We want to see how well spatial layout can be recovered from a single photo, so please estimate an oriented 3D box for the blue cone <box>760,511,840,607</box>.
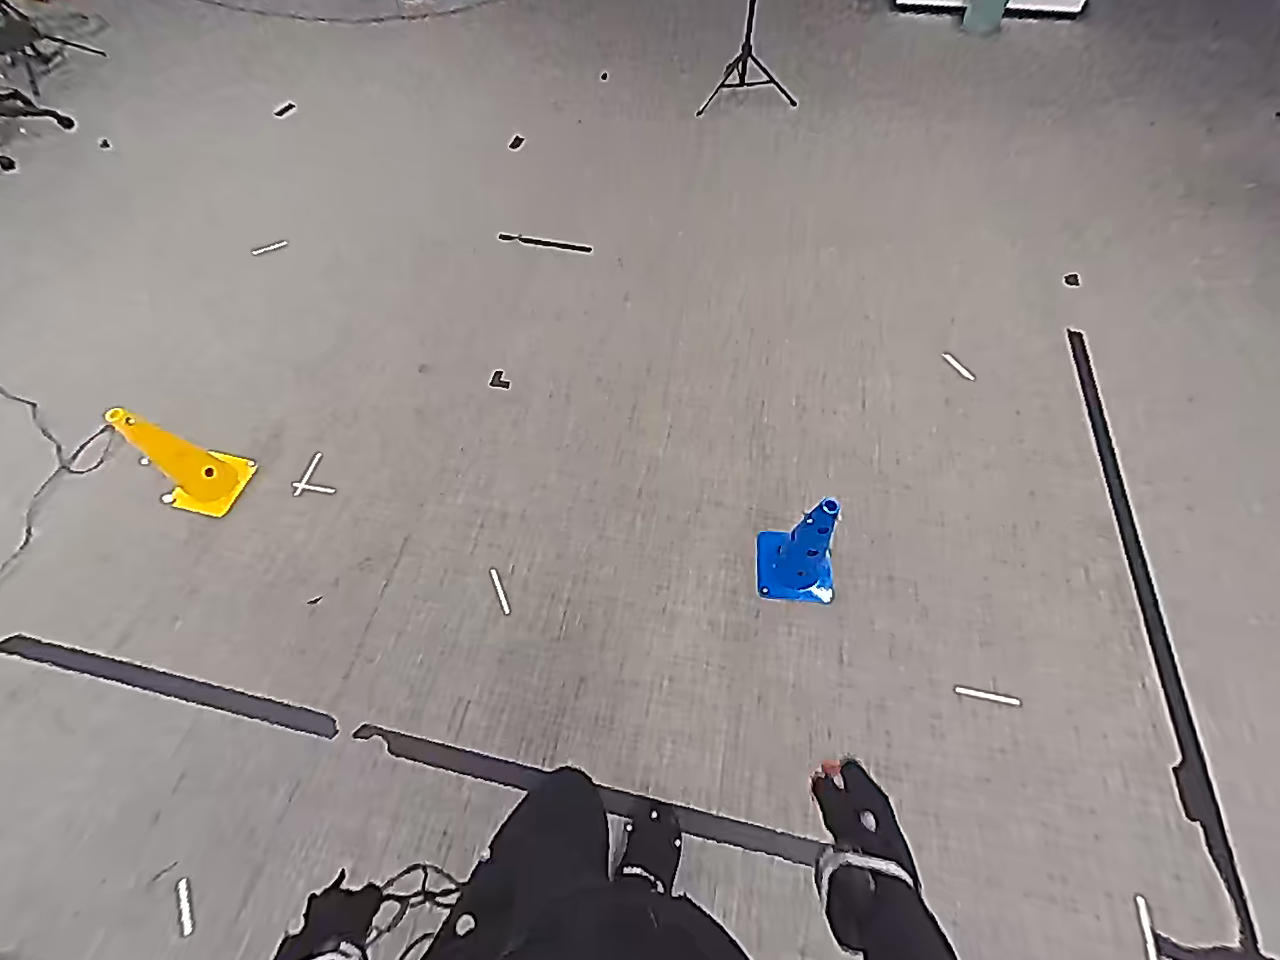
[{"bbox_3d":[0.424,0.167,1.344,0.193,0.380,0.192,6,60,4],"label":"blue cone"}]
